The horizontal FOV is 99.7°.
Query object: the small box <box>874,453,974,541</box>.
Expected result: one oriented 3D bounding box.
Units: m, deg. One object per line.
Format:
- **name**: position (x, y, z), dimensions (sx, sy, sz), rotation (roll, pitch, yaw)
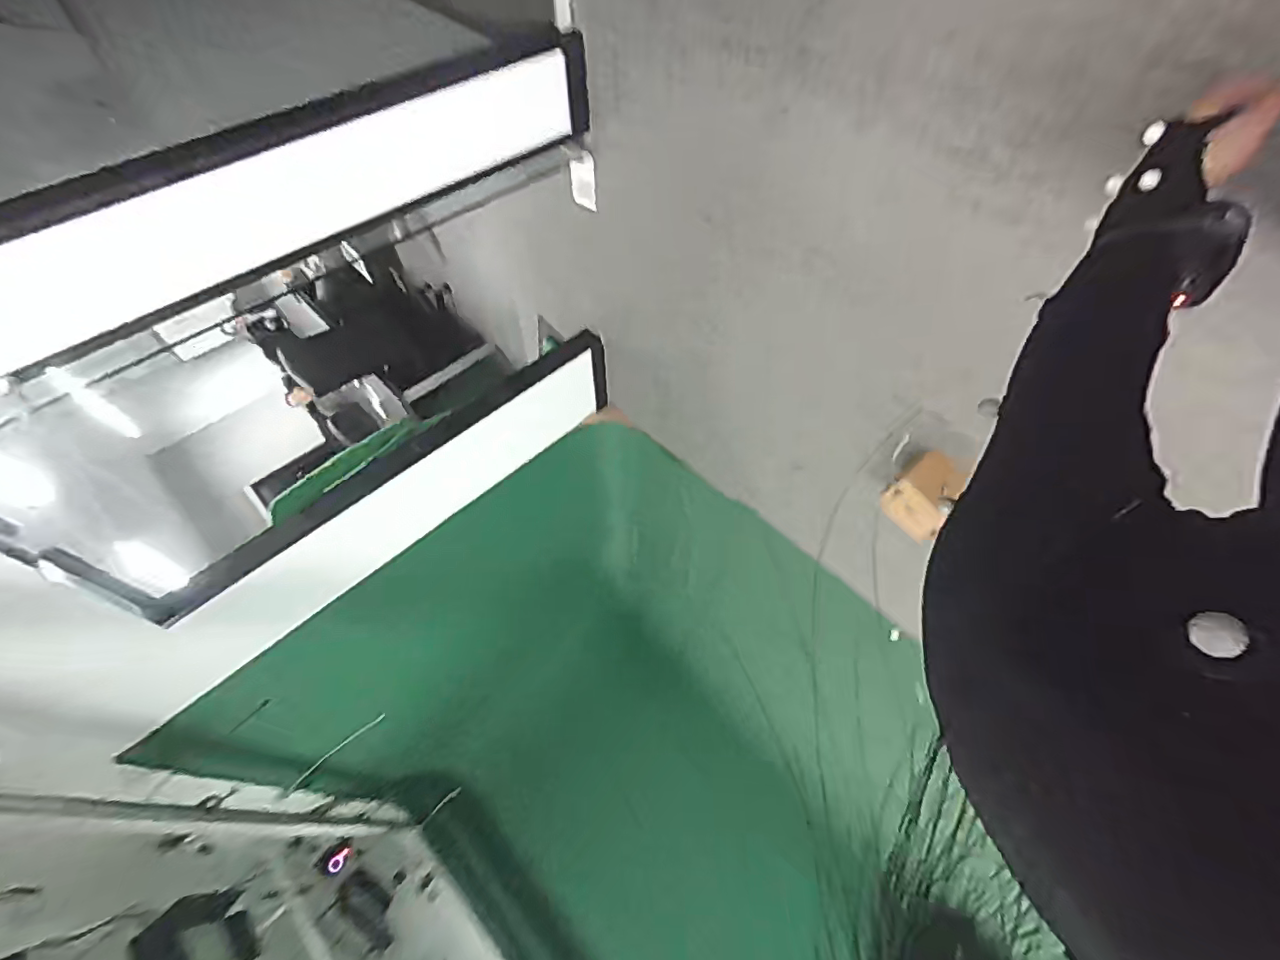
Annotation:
- **small box**: position (0.863, 0.049, 1.640), dimensions (0.179, 0.176, 0.168), rotation (45, 156, 11)
